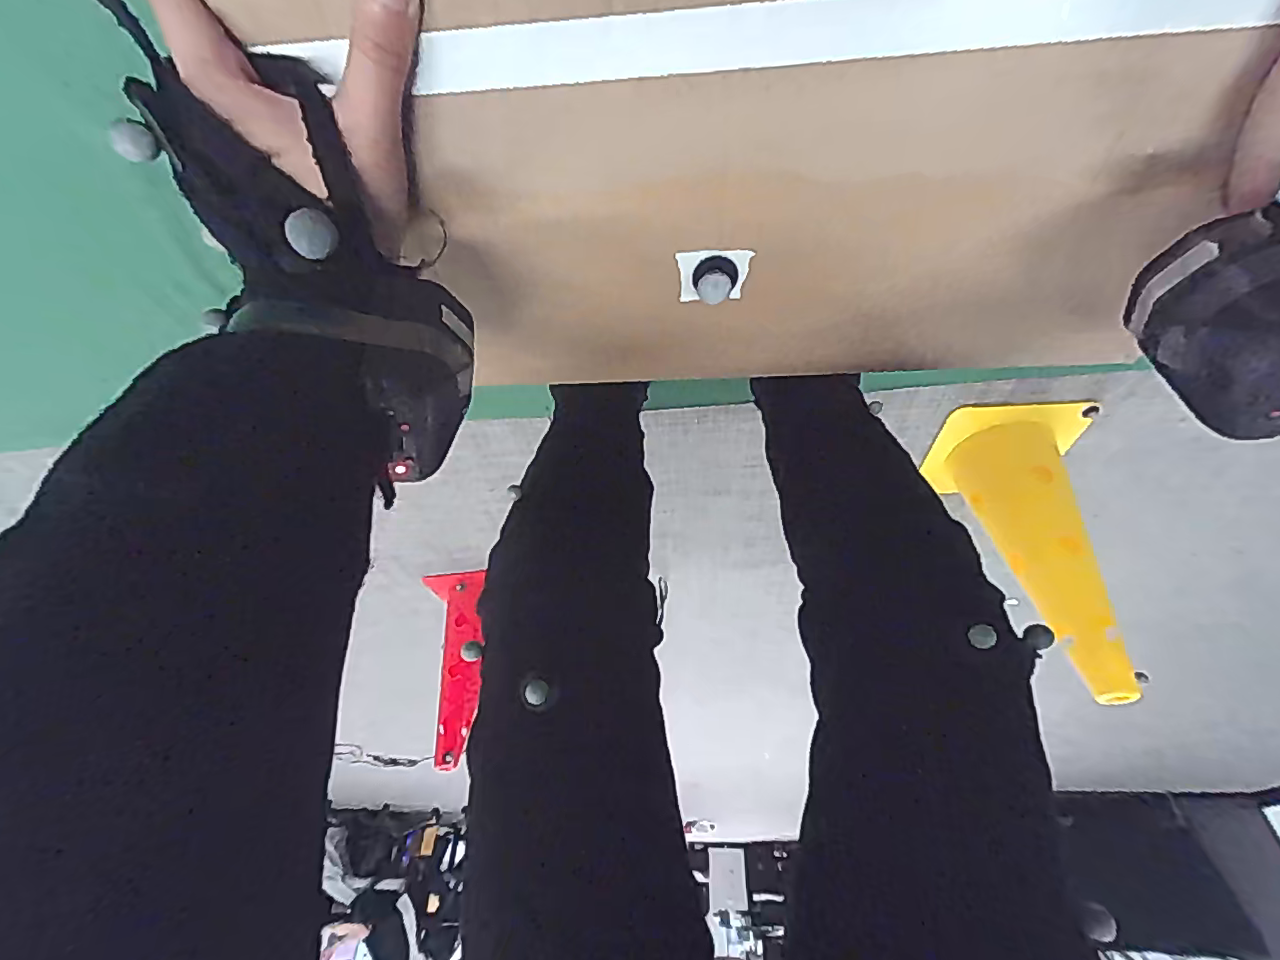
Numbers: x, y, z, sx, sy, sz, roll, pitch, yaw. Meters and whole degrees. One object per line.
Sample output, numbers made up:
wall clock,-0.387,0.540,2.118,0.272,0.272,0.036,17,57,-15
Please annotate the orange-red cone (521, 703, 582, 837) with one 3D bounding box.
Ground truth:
orange-red cone,-0.313,0.936,1.744,0.199,0.360,0.198,10,139,-8
